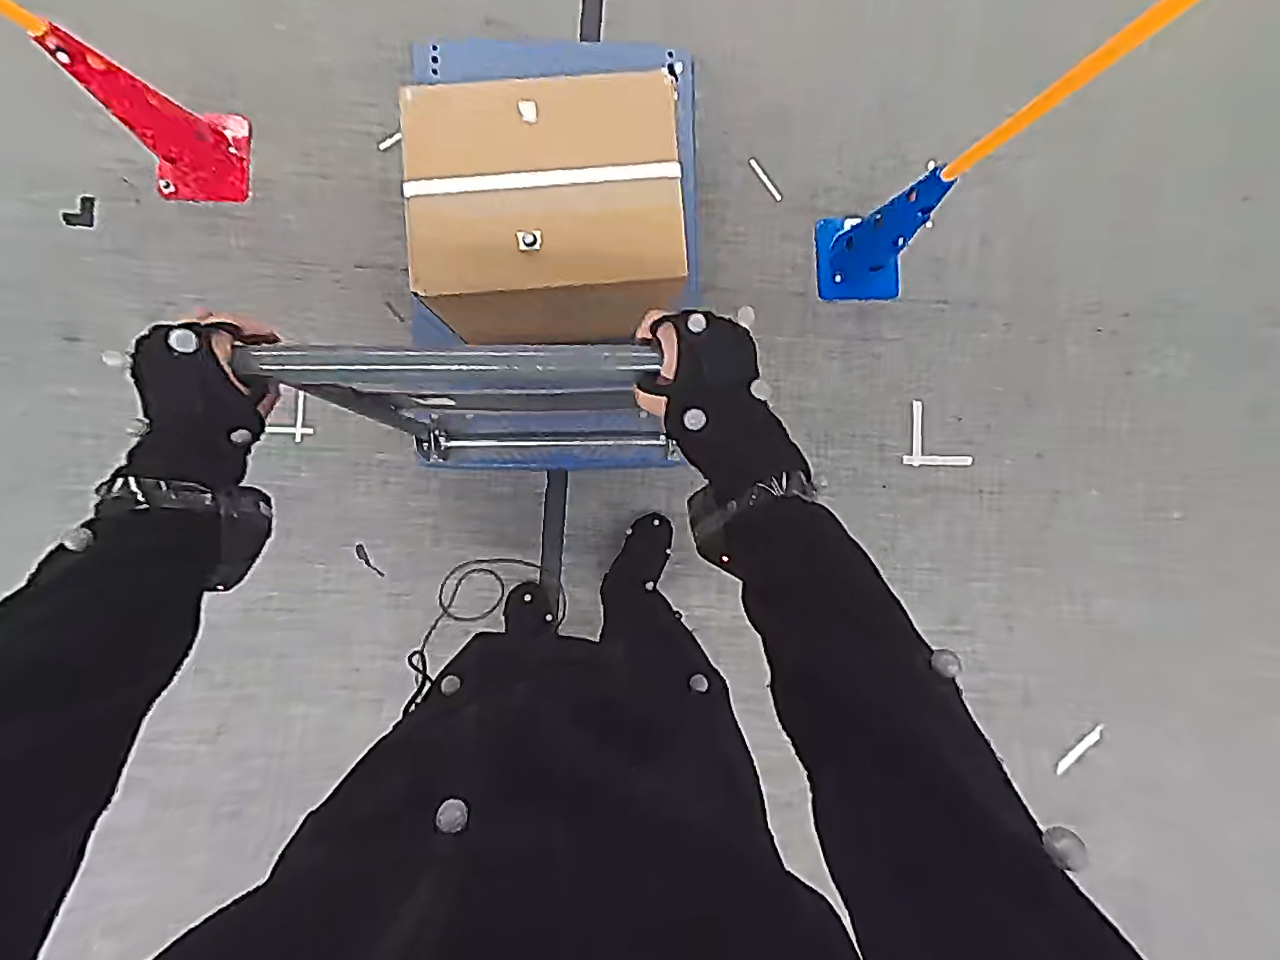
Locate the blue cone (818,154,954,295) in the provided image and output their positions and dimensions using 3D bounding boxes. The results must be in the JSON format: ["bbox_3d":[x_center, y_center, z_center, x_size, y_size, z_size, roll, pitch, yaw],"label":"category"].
[{"bbox_3d":[0.536,-0.548,1.147,0.193,0.380,0.192,-1,88,-3],"label":"blue cone"}]
